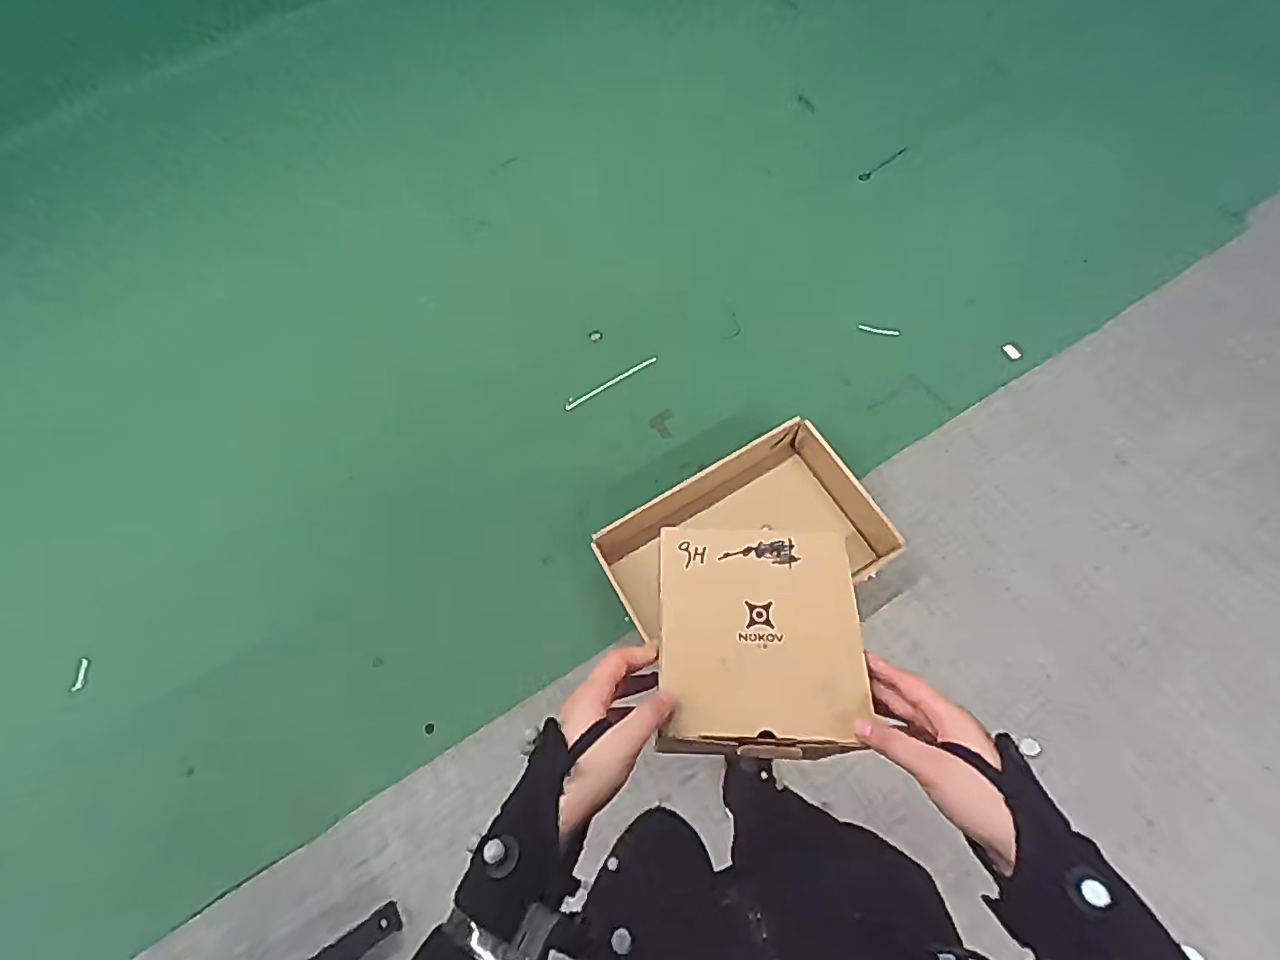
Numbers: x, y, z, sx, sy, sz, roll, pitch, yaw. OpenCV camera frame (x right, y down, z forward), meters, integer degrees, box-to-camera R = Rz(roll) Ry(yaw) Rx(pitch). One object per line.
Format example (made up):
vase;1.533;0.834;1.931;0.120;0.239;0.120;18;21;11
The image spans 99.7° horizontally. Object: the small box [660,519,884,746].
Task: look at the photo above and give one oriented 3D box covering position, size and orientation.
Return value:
small box;0.104;0.150;0.510;0.168;0.176;0.179;1;61;1
